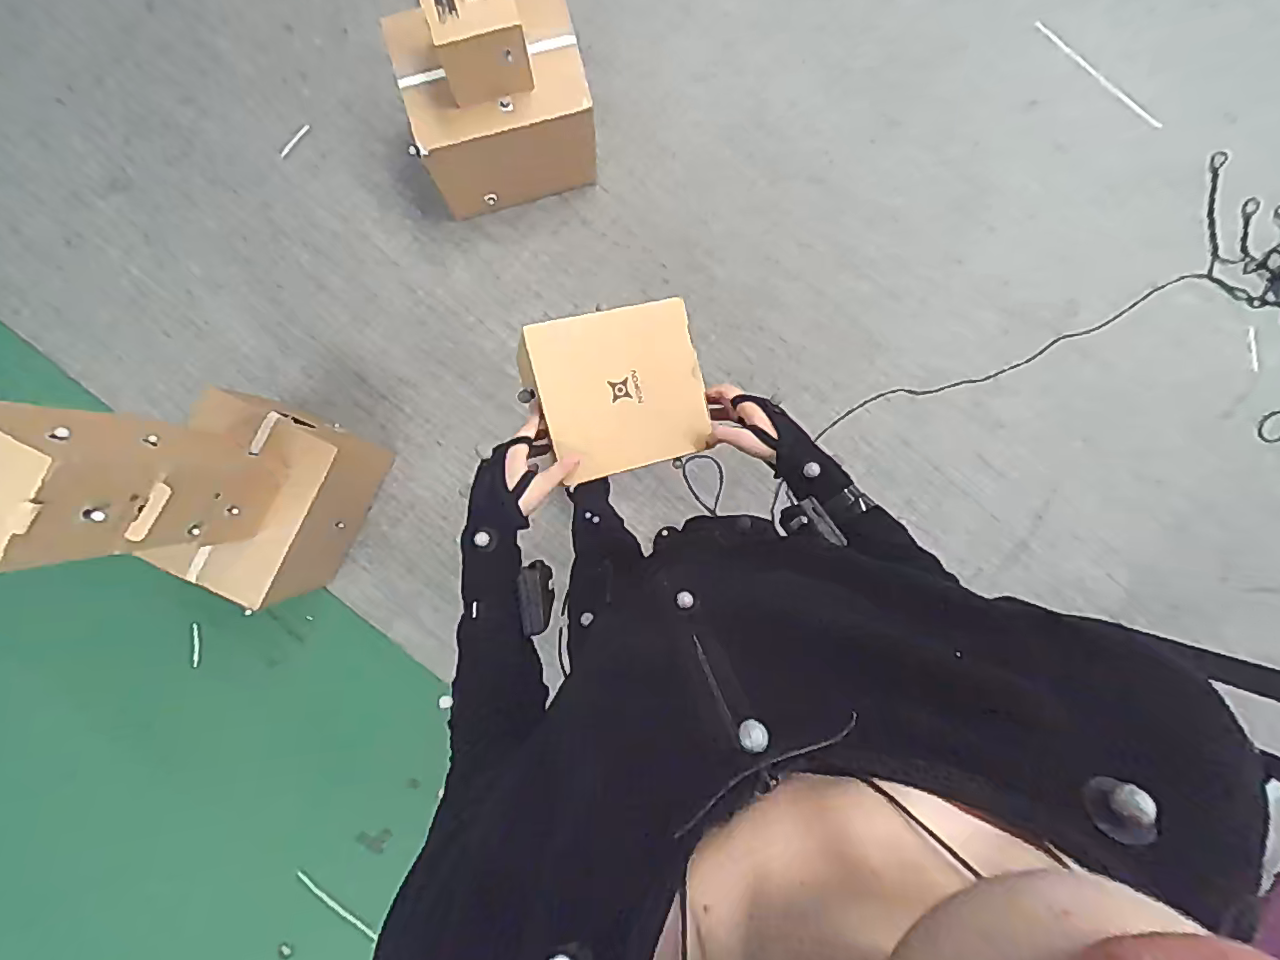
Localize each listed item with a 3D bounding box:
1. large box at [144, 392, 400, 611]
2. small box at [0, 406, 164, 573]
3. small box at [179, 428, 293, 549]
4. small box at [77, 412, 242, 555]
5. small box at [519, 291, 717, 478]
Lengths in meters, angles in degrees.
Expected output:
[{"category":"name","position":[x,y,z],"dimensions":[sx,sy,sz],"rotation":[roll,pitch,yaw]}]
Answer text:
[{"category":"large box","position":[-0.866,0.044,1.329],"dimensions":[0.320,0.320,0.408],"rotation":[26,90,0]},{"category":"small box","position":[-0.840,0.004,0.757],"dimensions":[0.179,0.176,0.168],"rotation":[30,88,-3]},{"category":"small box","position":[-0.848,0.016,1.084],"dimensions":[0.168,0.176,0.179],"rotation":[29,88,-2]},{"category":"small box","position":[-0.841,0.004,0.921],"dimensions":[0.179,0.176,0.168],"rotation":[31,88,-2]},{"category":"small box","position":[-0.037,-0.100,0.629],"dimensions":[0.179,0.176,0.168],"rotation":[-15,94,-15]}]
